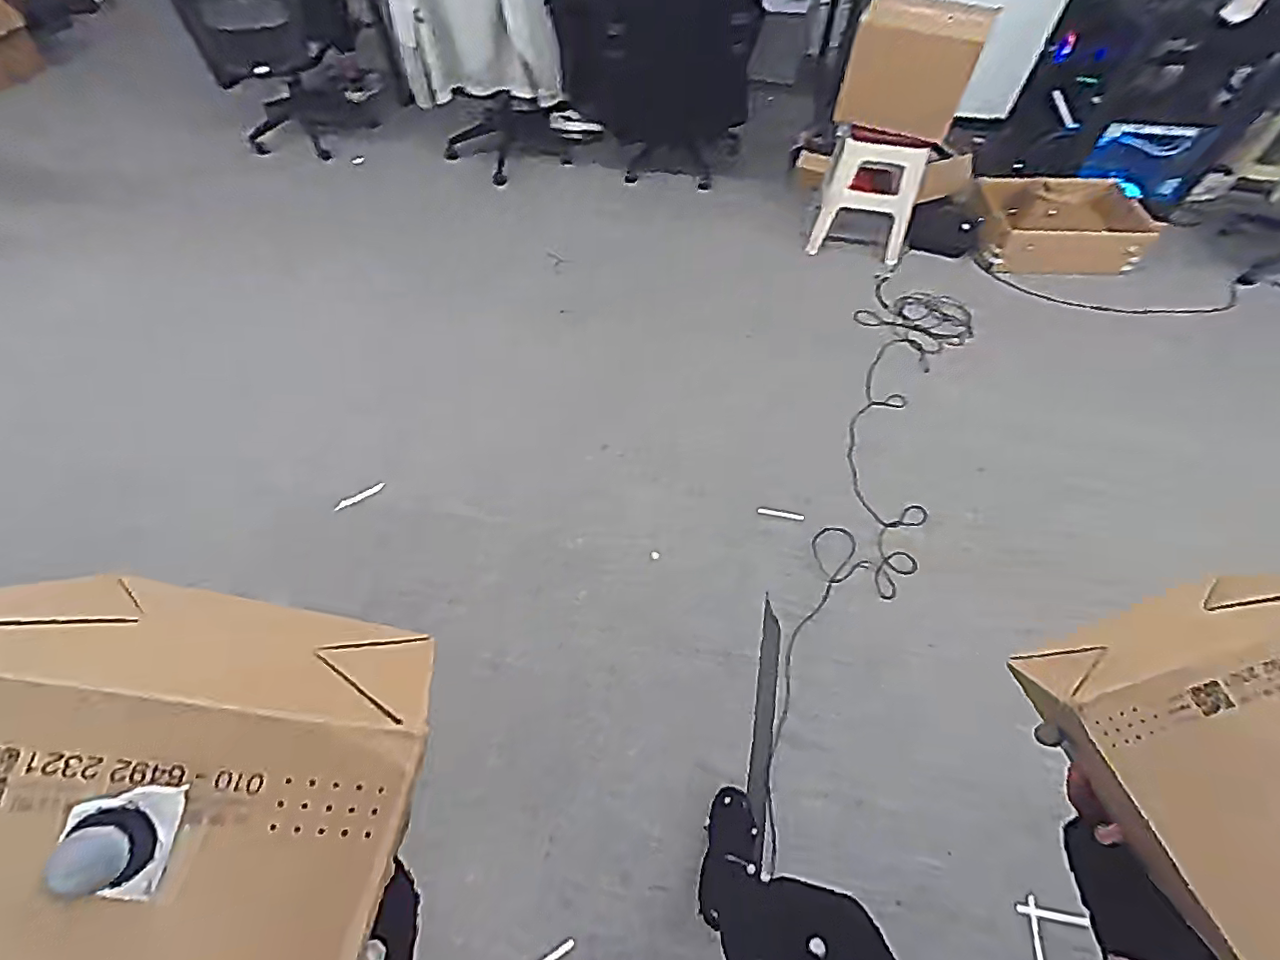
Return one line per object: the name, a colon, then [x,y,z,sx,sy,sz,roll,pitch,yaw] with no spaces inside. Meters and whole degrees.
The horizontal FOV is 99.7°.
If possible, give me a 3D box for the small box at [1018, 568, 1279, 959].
small box: [0.378,0.161,0.335,0.168,0.179,0.176,-32,70,17]
